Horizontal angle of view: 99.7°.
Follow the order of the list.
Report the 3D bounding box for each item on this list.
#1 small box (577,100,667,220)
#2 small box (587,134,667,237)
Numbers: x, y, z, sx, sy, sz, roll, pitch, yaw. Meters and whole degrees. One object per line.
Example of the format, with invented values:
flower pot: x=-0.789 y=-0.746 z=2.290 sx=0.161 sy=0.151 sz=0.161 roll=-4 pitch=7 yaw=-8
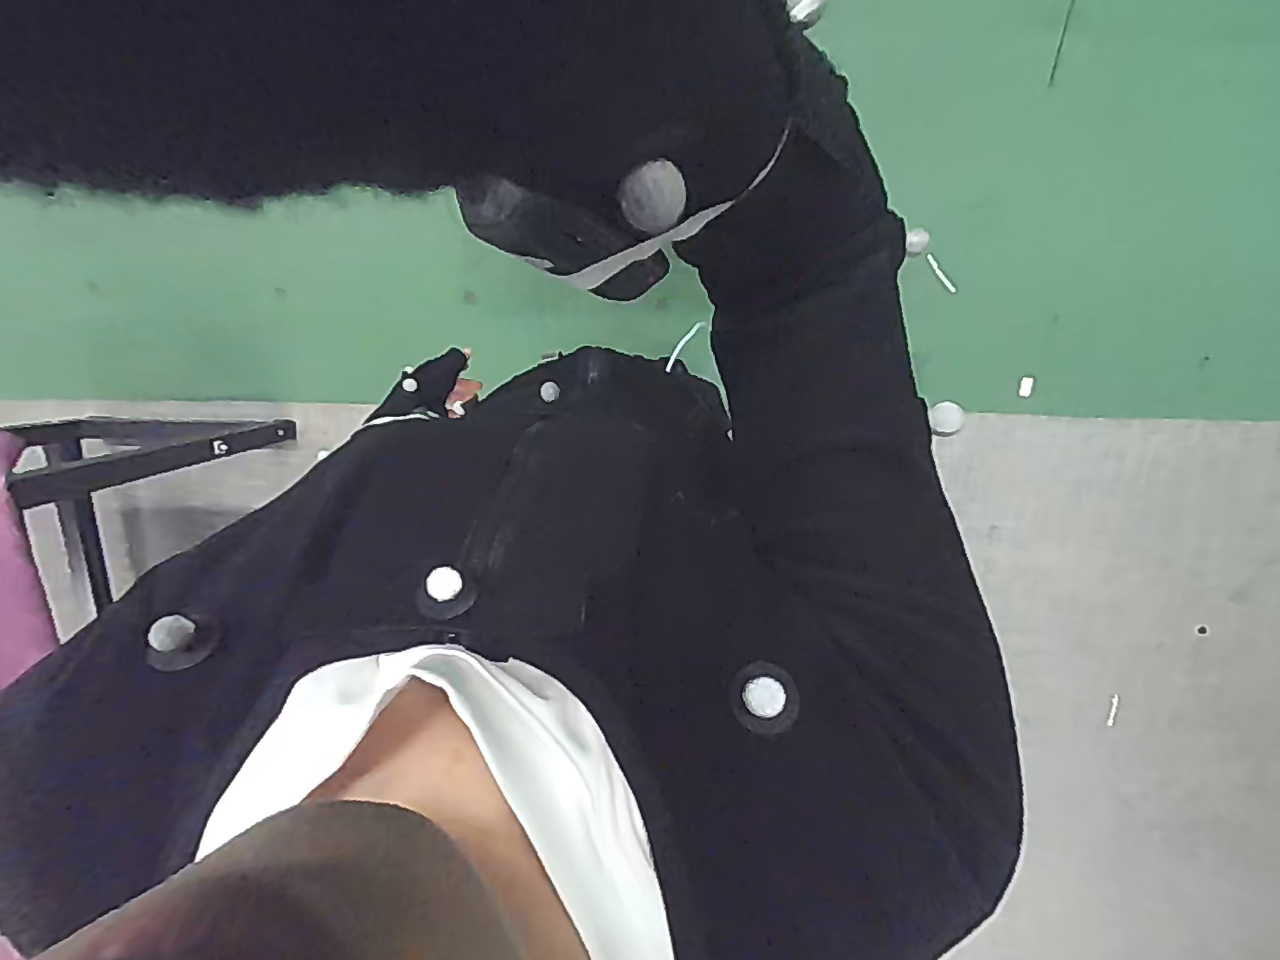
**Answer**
small box: x=-0.035 y=-0.641 z=1.088 sx=0.168 sy=0.176 sz=0.179 roll=2 pitch=104 yaw=1
small box: x=-0.028 y=-0.678 z=1.247 sx=0.168 sy=0.176 sz=0.179 roll=4 pitch=103 yaw=1
